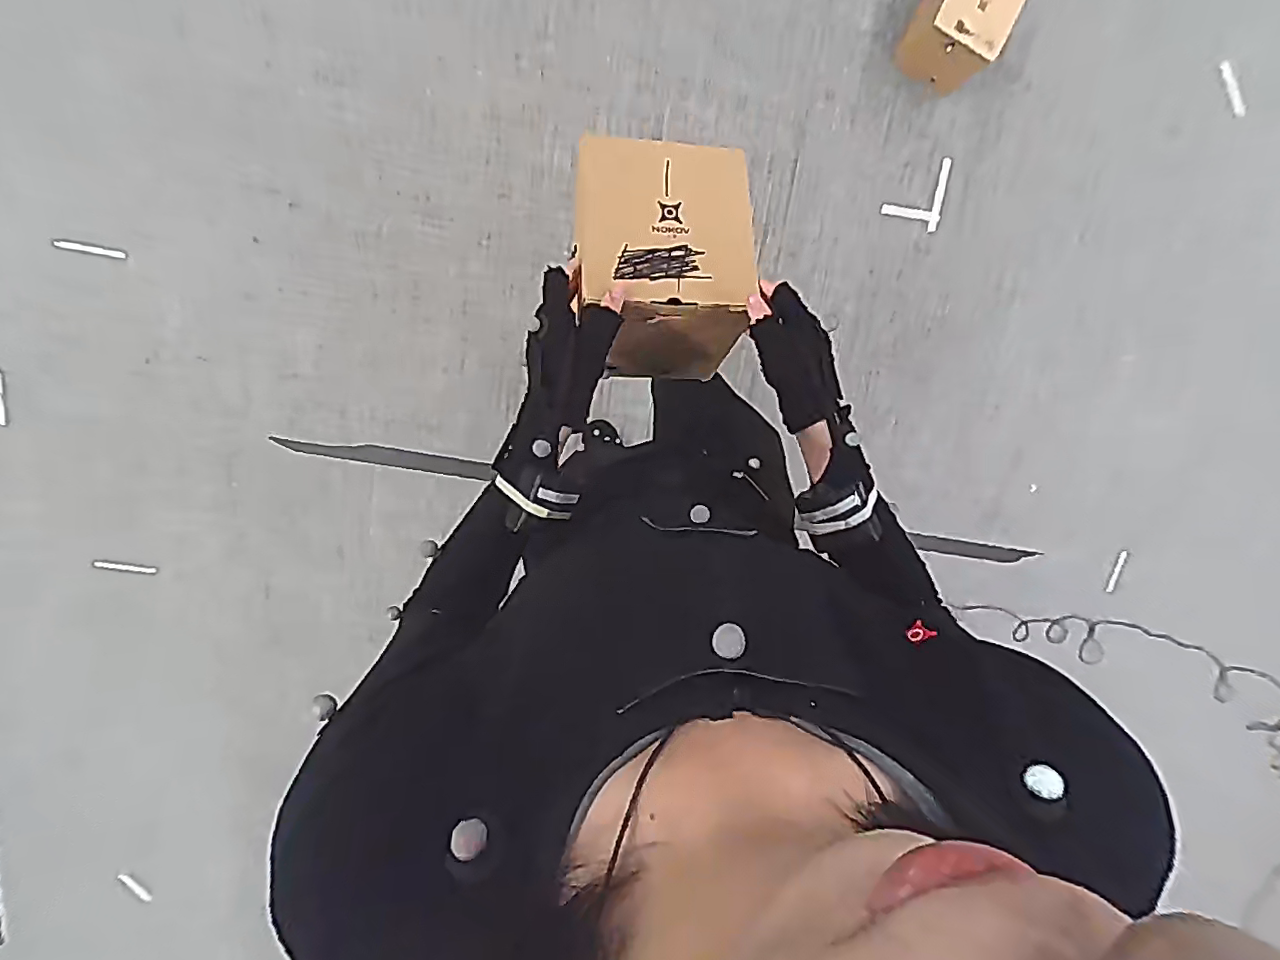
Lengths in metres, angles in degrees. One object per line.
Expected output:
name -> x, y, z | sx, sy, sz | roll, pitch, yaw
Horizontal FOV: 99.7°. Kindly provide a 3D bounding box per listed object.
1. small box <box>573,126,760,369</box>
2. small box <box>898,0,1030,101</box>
small box -> 0.015, -0.231, 0.577 | 0.168, 0.176, 0.179 | -1, 76, -10
small box -> 0.730, -1.026, 1.235 | 0.168, 0.176, 0.179 | 24, 100, -10
